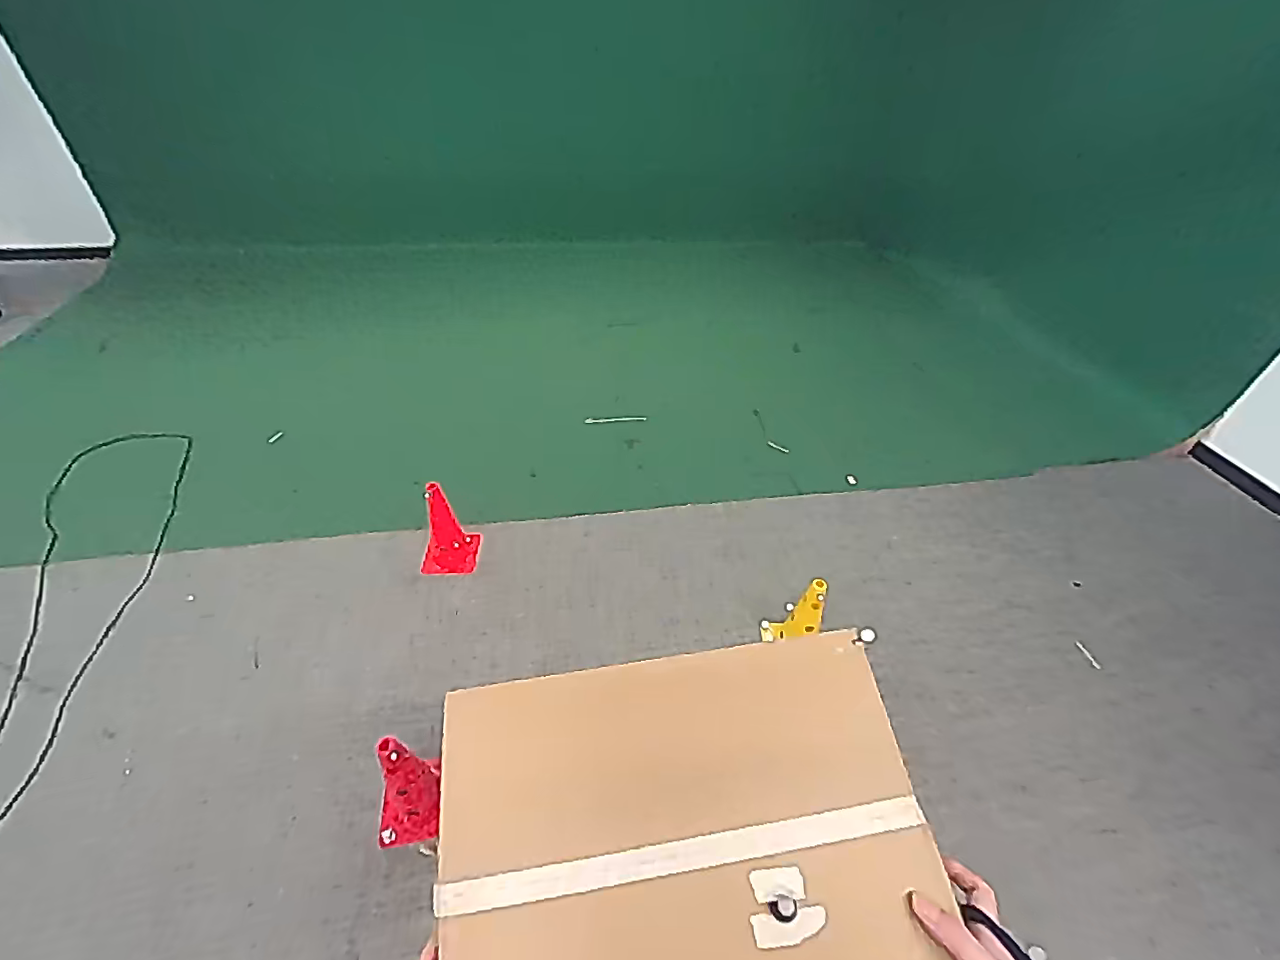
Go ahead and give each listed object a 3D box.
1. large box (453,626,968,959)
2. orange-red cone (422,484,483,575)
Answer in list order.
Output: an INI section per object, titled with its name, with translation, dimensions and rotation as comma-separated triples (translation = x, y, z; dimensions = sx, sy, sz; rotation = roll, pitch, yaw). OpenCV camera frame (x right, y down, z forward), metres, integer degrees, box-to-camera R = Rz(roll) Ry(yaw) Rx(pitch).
[large box]
translation = 0.040, 0.382, 0.588
dimensions = 0.408, 0.320, 0.320
rotation = -8, 61, -5
[orange-red cone]
translation = -0.717, 0.161, 1.964
dimensions = 0.199, 0.360, 0.198
rotation = -1, 41, -1
